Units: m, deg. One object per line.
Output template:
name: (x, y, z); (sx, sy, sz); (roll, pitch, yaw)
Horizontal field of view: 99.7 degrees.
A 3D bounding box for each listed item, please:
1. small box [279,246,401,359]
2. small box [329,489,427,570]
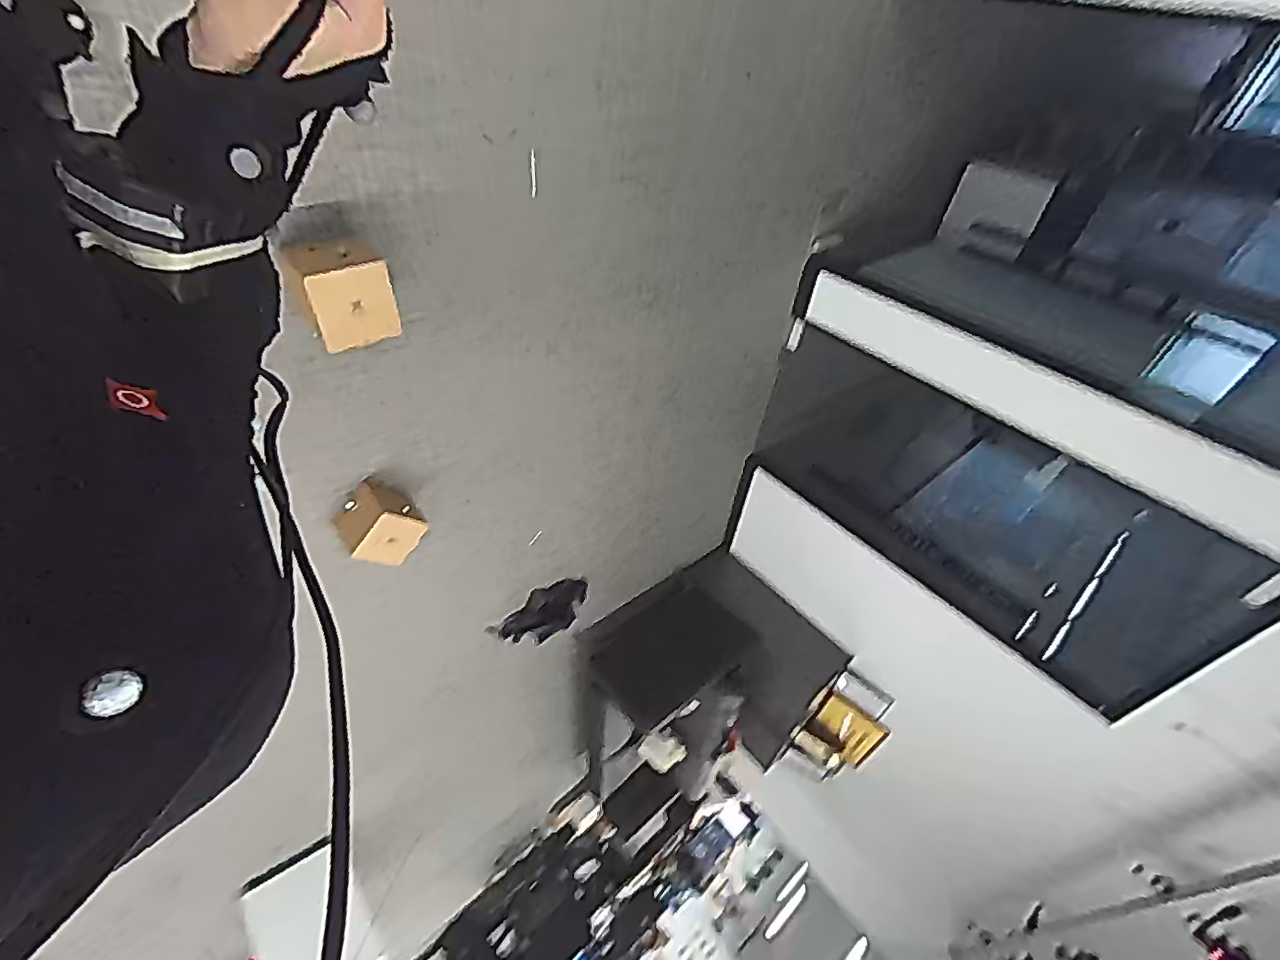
small box: (-0.662, -0.402, 1.198); (0.168, 0.176, 0.179); (-29, 144, -30)
small box: (-0.794, 0.149, 1.638); (0.168, 0.176, 0.179); (-52, 148, 3)
